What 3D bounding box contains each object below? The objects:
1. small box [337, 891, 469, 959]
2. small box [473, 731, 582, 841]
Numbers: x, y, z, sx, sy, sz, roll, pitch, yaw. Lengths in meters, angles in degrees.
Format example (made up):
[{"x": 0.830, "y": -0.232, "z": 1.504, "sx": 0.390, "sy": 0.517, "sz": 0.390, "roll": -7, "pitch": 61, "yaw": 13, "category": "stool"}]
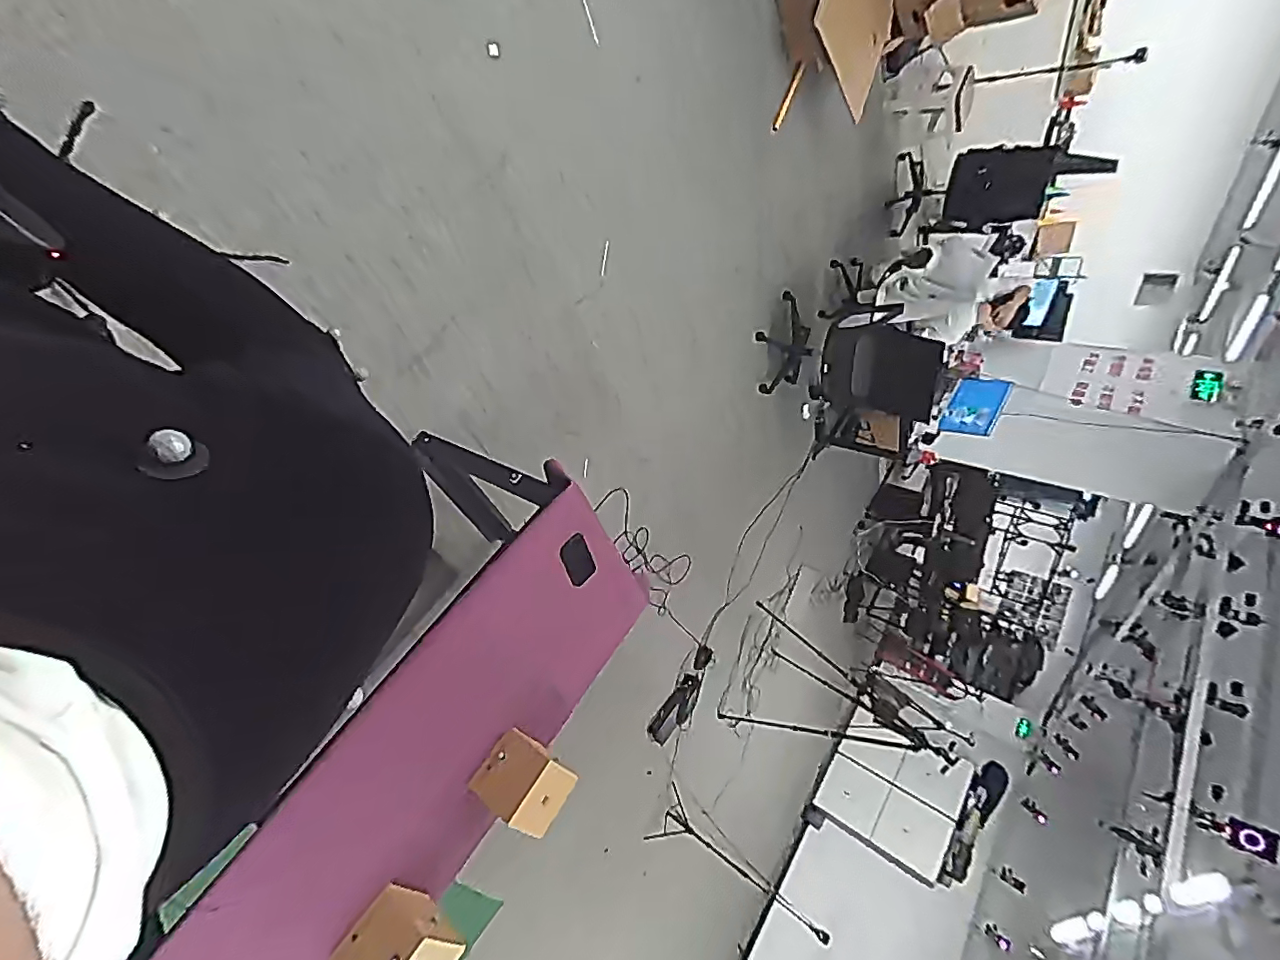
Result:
[{"x": -0.522, "y": 1.055, "z": 1.194, "sx": 0.168, "sy": 0.176, "sz": 0.179, "roll": -51, "pitch": 139, "yaw": -27, "category": "small box"}, {"x": -0.284, "y": 0.774, "z": 1.377, "sx": 0.168, "sy": 0.176, "sz": 0.179, "roll": -53, "pitch": 139, "yaw": -24, "category": "small box"}]
